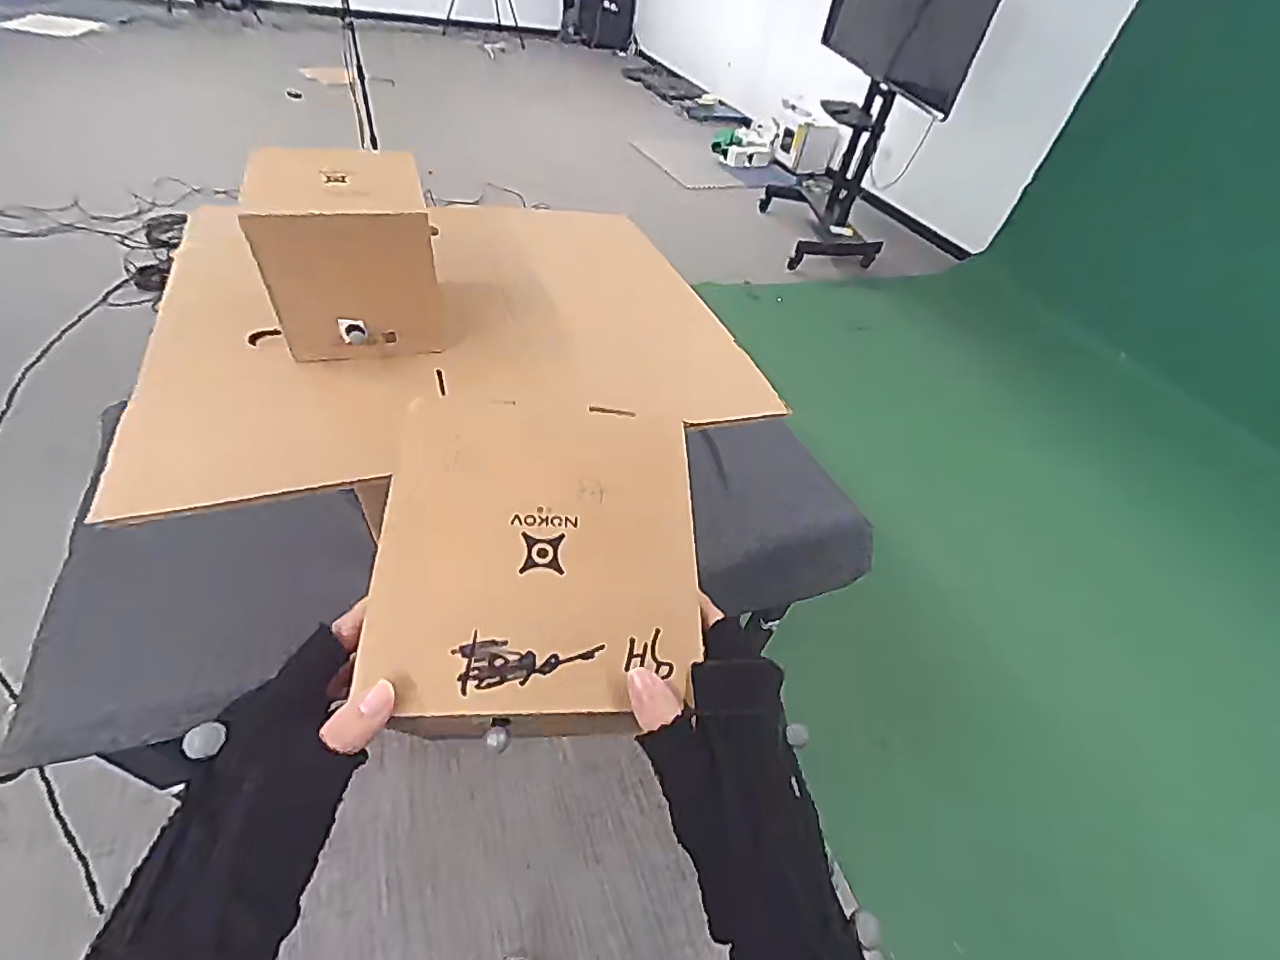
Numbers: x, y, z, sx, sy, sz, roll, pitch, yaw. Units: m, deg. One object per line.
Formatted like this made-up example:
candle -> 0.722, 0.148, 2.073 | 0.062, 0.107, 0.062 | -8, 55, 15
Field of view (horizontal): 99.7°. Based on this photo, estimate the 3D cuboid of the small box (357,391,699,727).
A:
small box -> -0.065, 0.065, 0.368 | 0.168, 0.176, 0.179 | 3, 61, -9

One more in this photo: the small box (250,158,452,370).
small box -> -0.324, -0.253, 0.633 | 0.168, 0.176, 0.179 | -11, 52, -19
